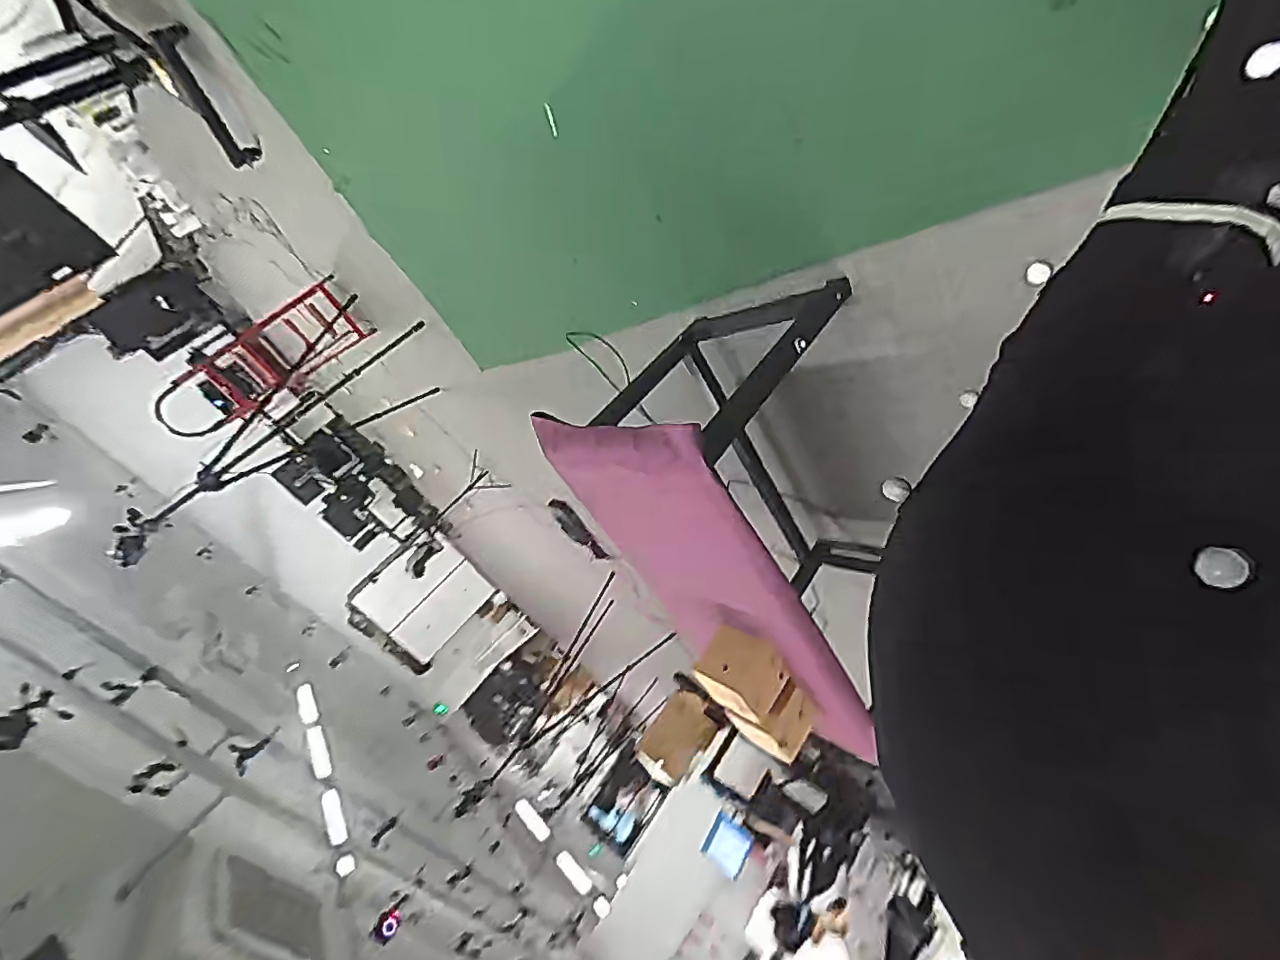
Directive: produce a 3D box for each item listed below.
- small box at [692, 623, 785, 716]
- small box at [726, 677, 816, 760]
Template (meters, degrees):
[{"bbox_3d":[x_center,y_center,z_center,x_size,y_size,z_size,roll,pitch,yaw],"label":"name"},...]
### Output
[{"bbox_3d":[0.289,0.532,1.541,0.179,0.176,0.168,2,138,52],"label":"small box"},{"bbox_3d":[0.398,0.697,1.636,0.179,0.176,0.168,6,137,52],"label":"small box"}]
